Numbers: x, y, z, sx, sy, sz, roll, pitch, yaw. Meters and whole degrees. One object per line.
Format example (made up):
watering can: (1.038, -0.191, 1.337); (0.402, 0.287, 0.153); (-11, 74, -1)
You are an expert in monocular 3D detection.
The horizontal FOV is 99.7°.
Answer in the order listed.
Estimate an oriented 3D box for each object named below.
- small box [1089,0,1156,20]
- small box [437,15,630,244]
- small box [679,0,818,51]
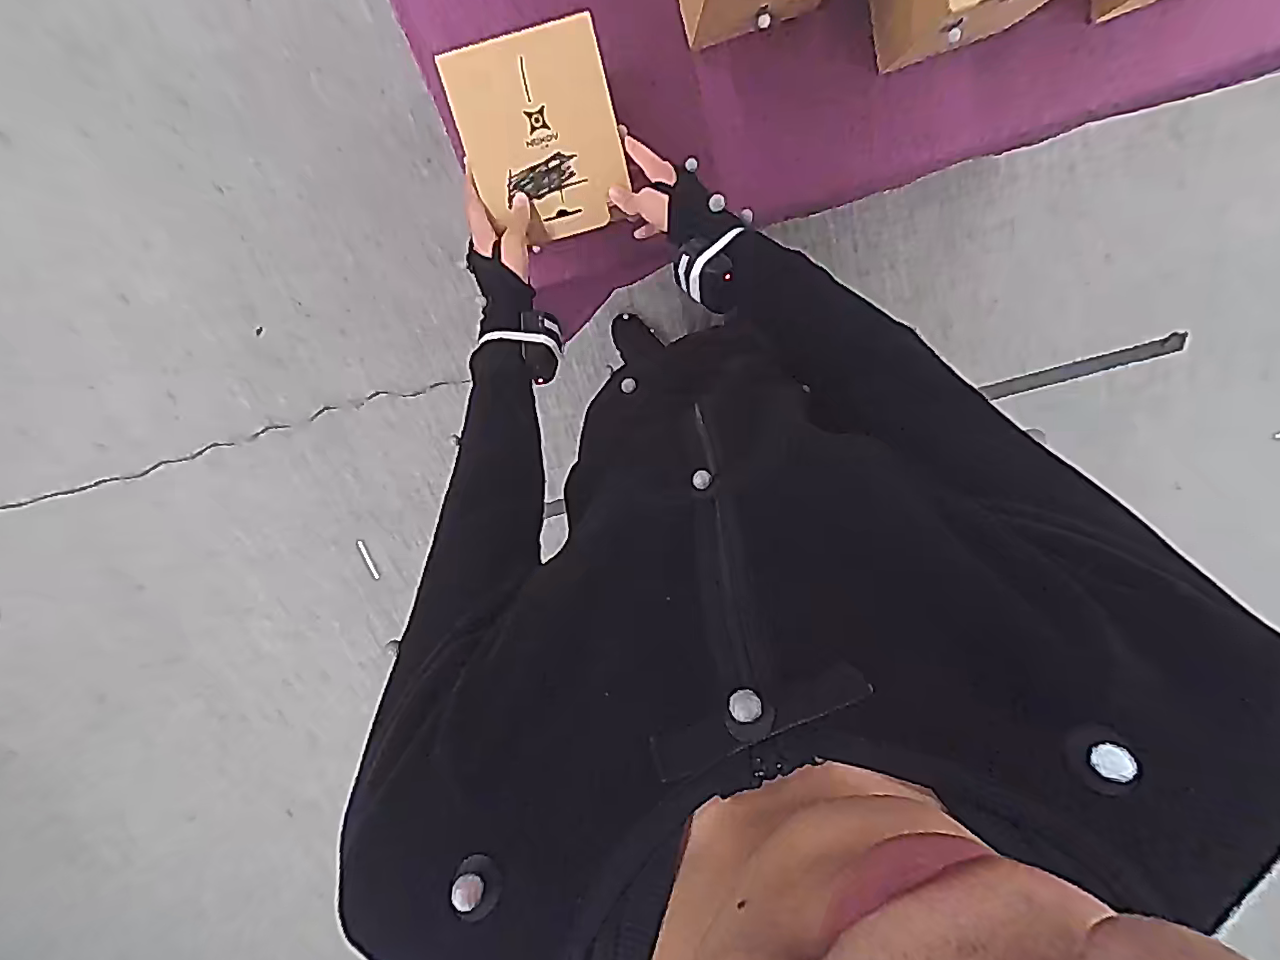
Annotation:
small box: (0.626, -0.660, 0.584); (0.168, 0.176, 0.179); (-18, 109, 4)
small box: (-0.112, -0.394, 0.647); (0.168, 0.176, 0.179); (-15, 108, 1)
small box: (0.119, -0.616, 0.579); (0.168, 0.176, 0.179); (-16, 109, 4)
